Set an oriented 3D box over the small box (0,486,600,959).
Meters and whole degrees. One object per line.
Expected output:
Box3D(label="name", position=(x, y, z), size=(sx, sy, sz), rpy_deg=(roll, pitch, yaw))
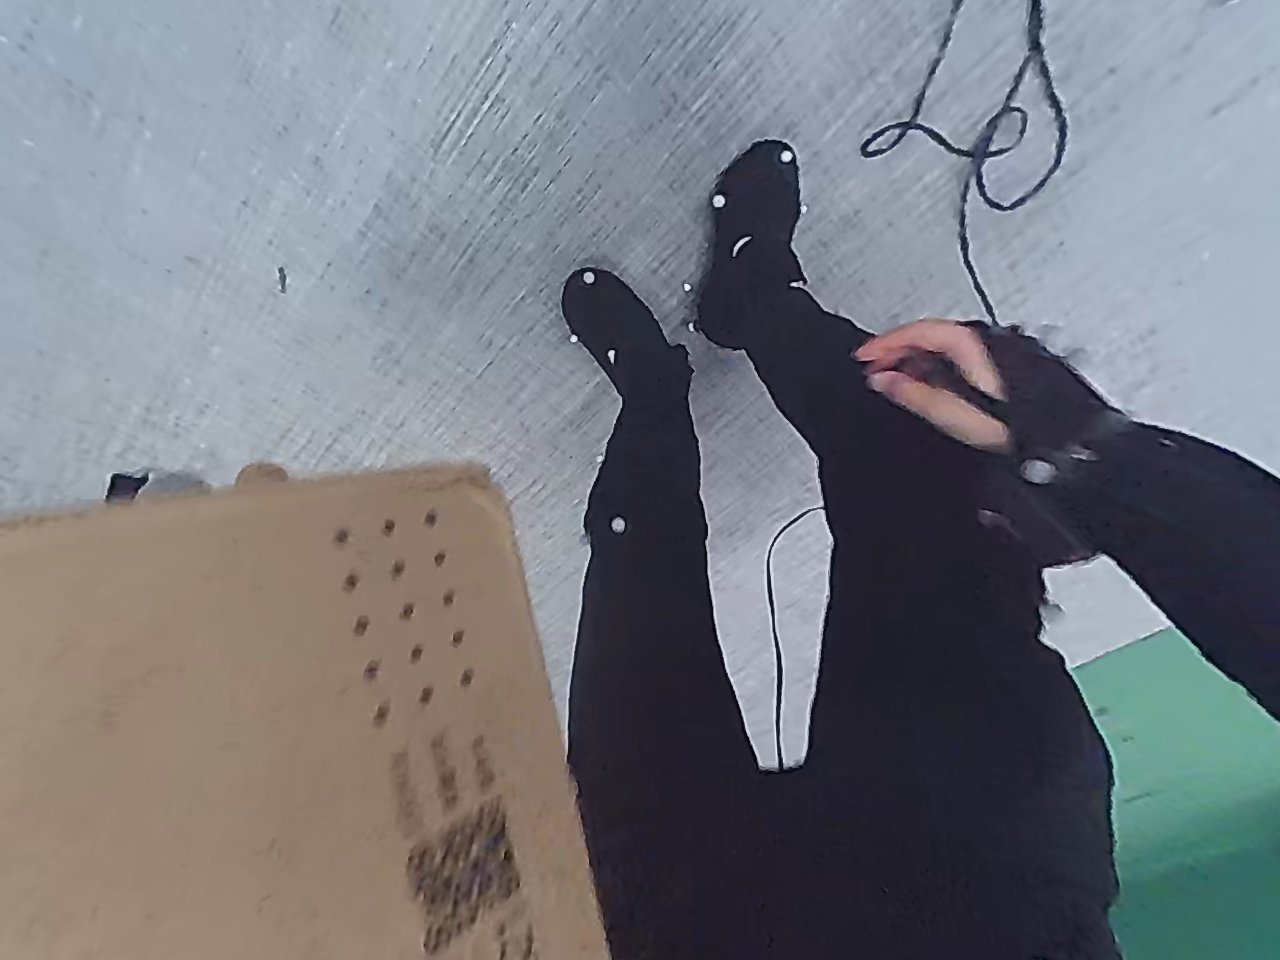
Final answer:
Box3D(label="small box", position=(-0.124, 0.103, 0.111), size=(0.176, 0.168, 0.179), rpy_deg=(-12, 179, -42))
